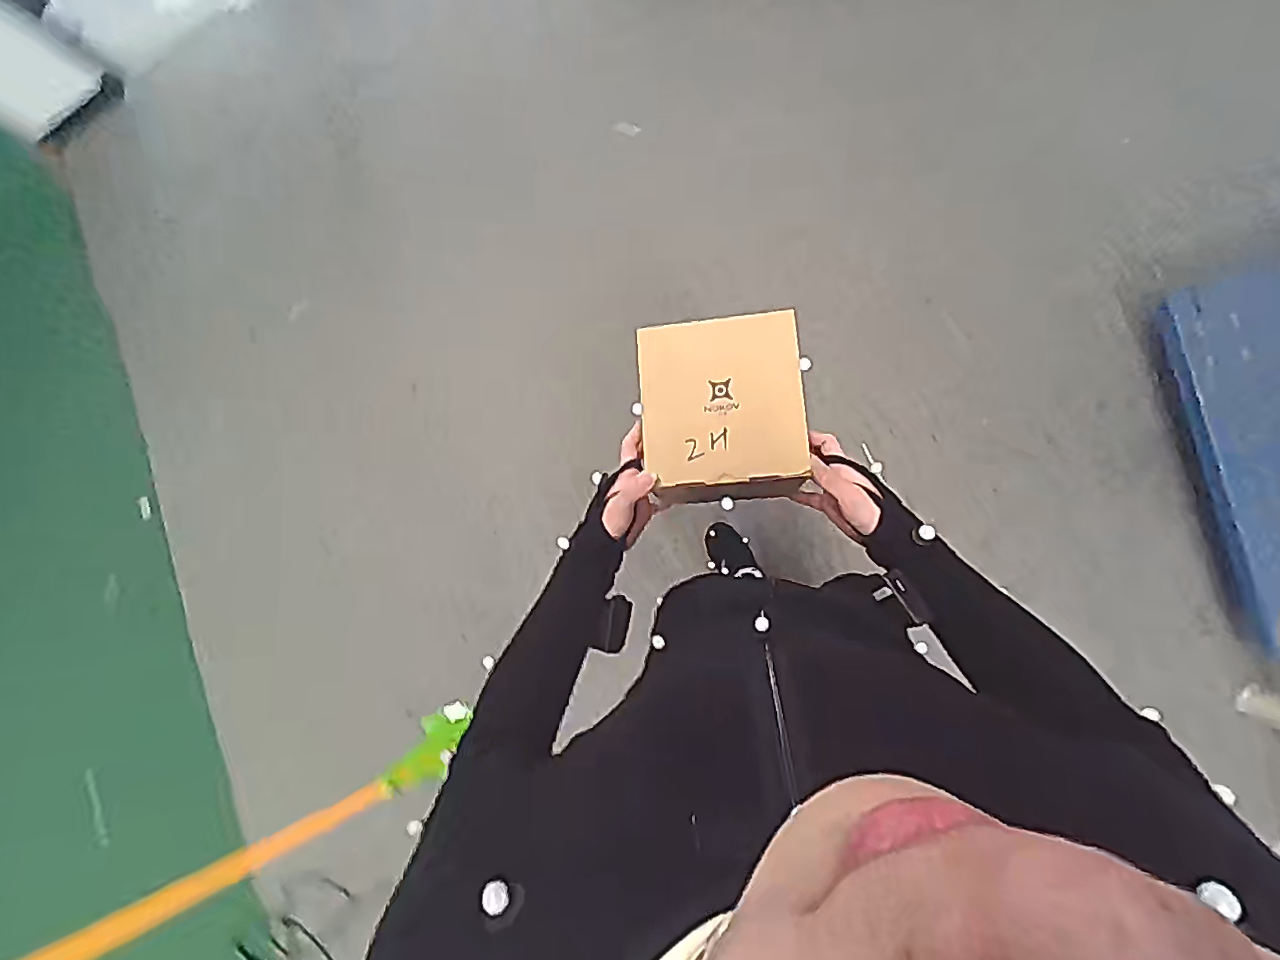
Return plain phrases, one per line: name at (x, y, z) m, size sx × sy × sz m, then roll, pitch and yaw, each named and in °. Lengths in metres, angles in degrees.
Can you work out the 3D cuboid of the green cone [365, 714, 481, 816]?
green cone at (-0.661, 0.860, 1.573) m, size 0.200 × 0.368 × 0.202 m, roll -24°, pitch 81°, yaw 11°
